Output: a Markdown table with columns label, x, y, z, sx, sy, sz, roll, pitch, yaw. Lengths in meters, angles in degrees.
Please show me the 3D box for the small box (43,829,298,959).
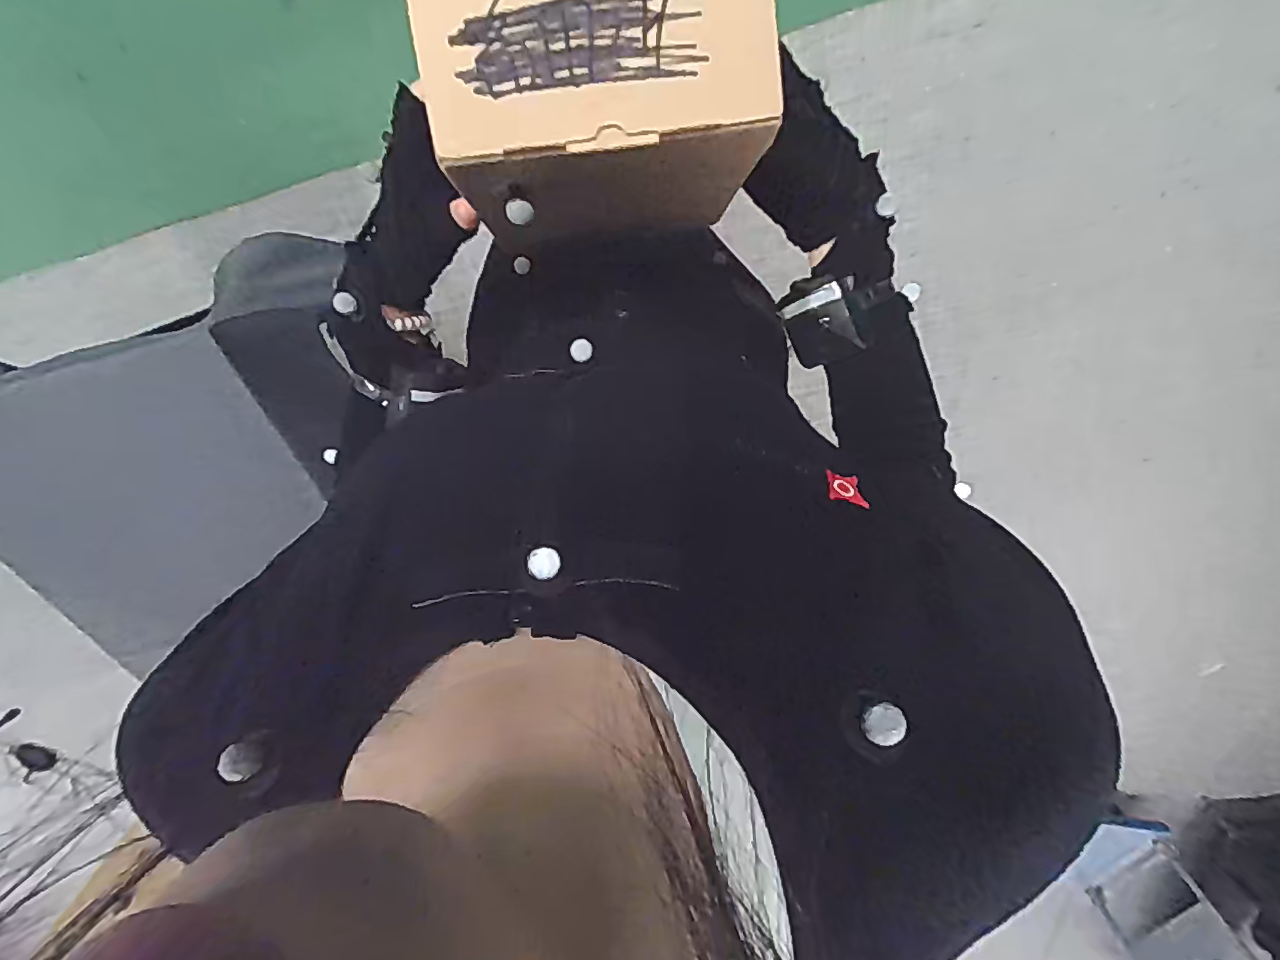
| label | x | y | z | sx | sy | sz | roll | pitch | yaw |
| --- | --- | --- | --- | --- | --- | --- | --- | --- | --- |
| small box | -0.605 | 0.583 | 0.708 | 0.168 | 0.176 | 0.179 | -10 | 121 | 8 |
